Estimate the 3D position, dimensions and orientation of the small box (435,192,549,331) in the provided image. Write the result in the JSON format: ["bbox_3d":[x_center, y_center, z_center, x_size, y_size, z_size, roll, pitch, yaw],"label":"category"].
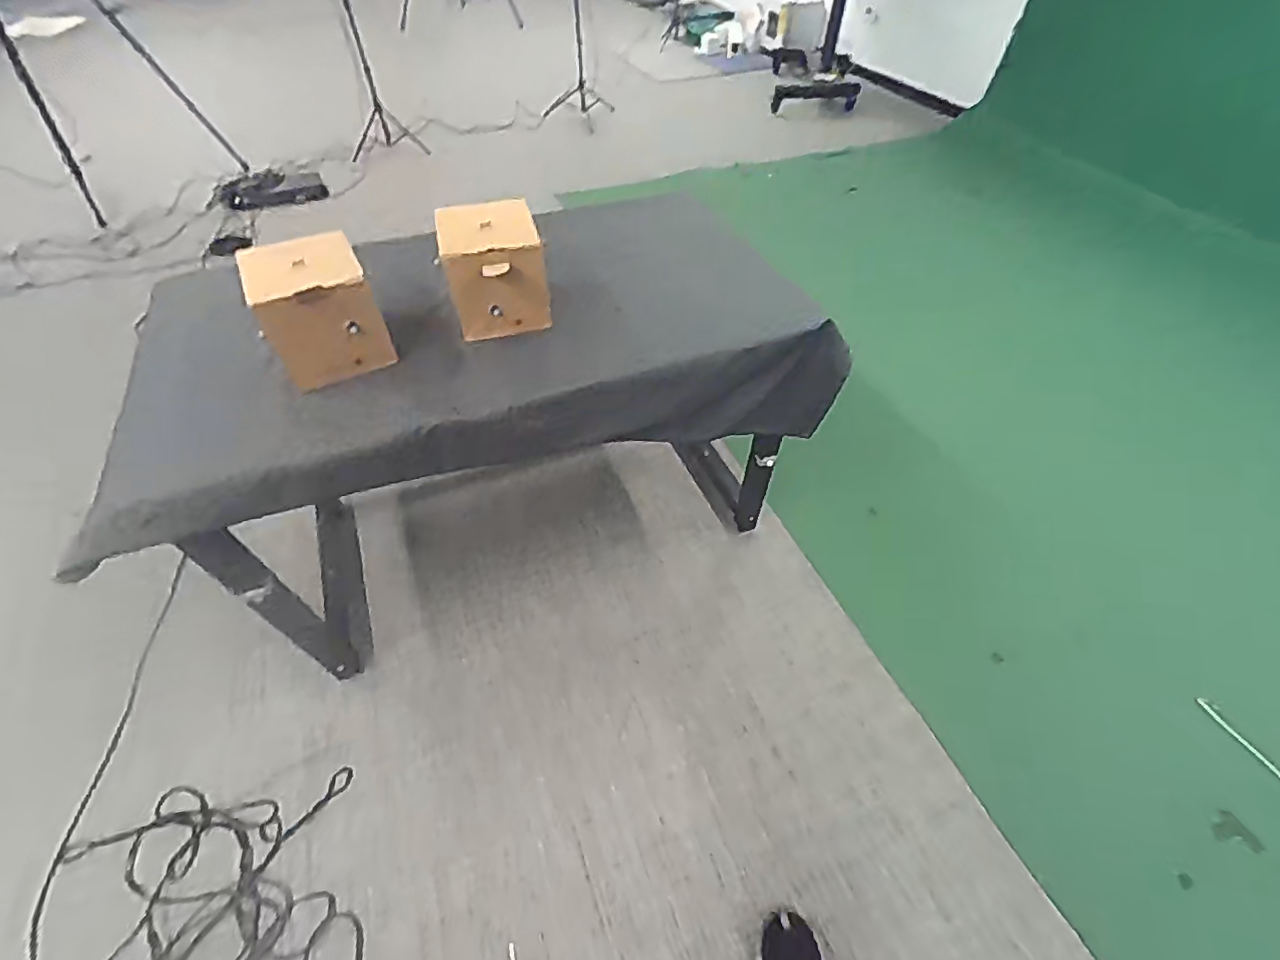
[{"bbox_3d":[-0.266,-0.397,0.984,0.168,0.176,0.179,-12,52,-12],"label":"small box"}]

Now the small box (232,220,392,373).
[{"bbox_3d":[-0.533,-0.297,0.894,0.168,0.176,0.179,-23,54,-21],"label":"small box"}]
